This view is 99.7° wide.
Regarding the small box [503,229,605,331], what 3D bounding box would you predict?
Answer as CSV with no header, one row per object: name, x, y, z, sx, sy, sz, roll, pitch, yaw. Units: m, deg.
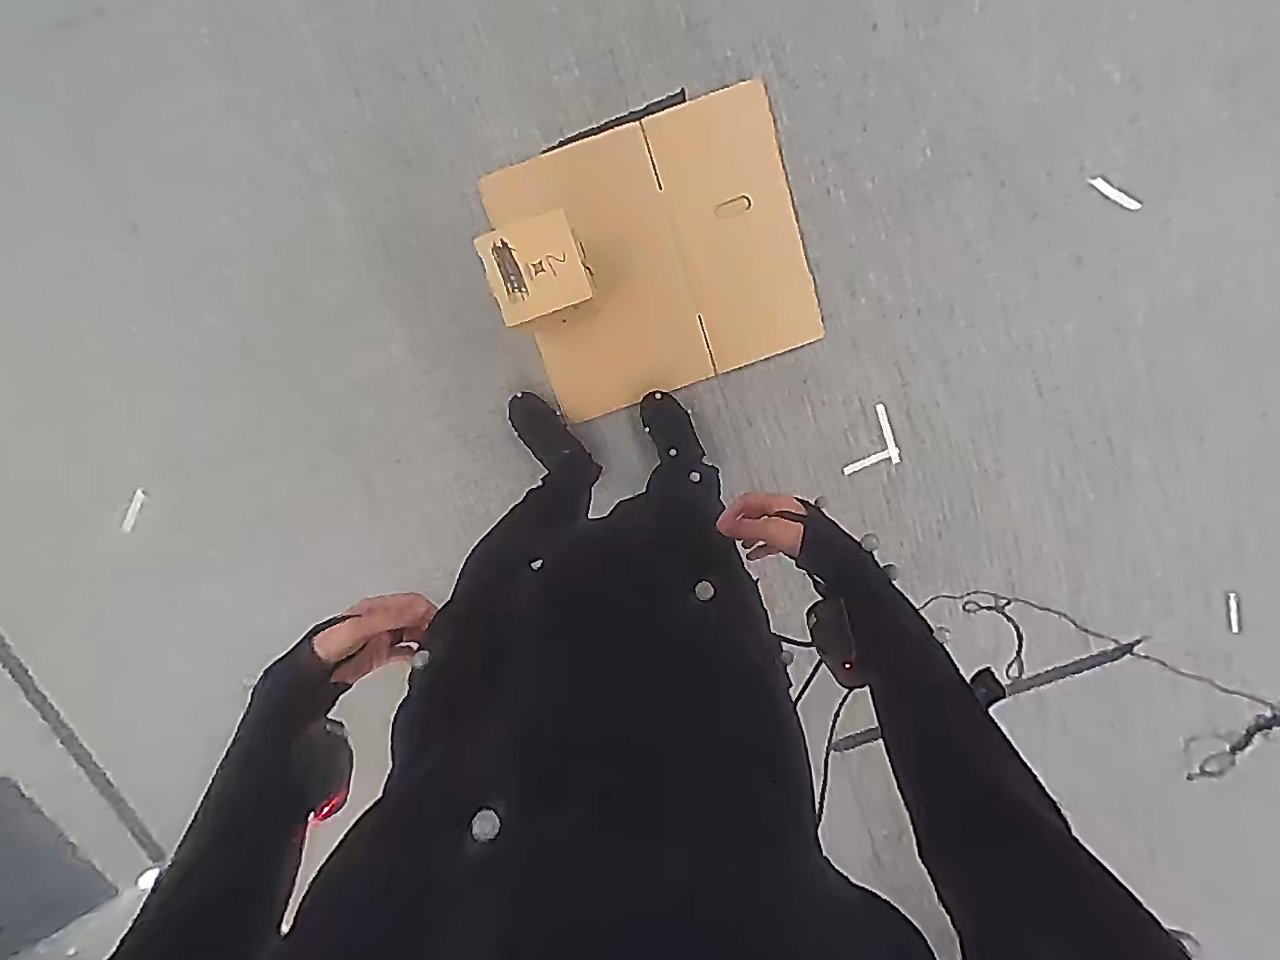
small box,-0.188,-0.448,1.232,0.179,0.176,0.168,-19,104,3
